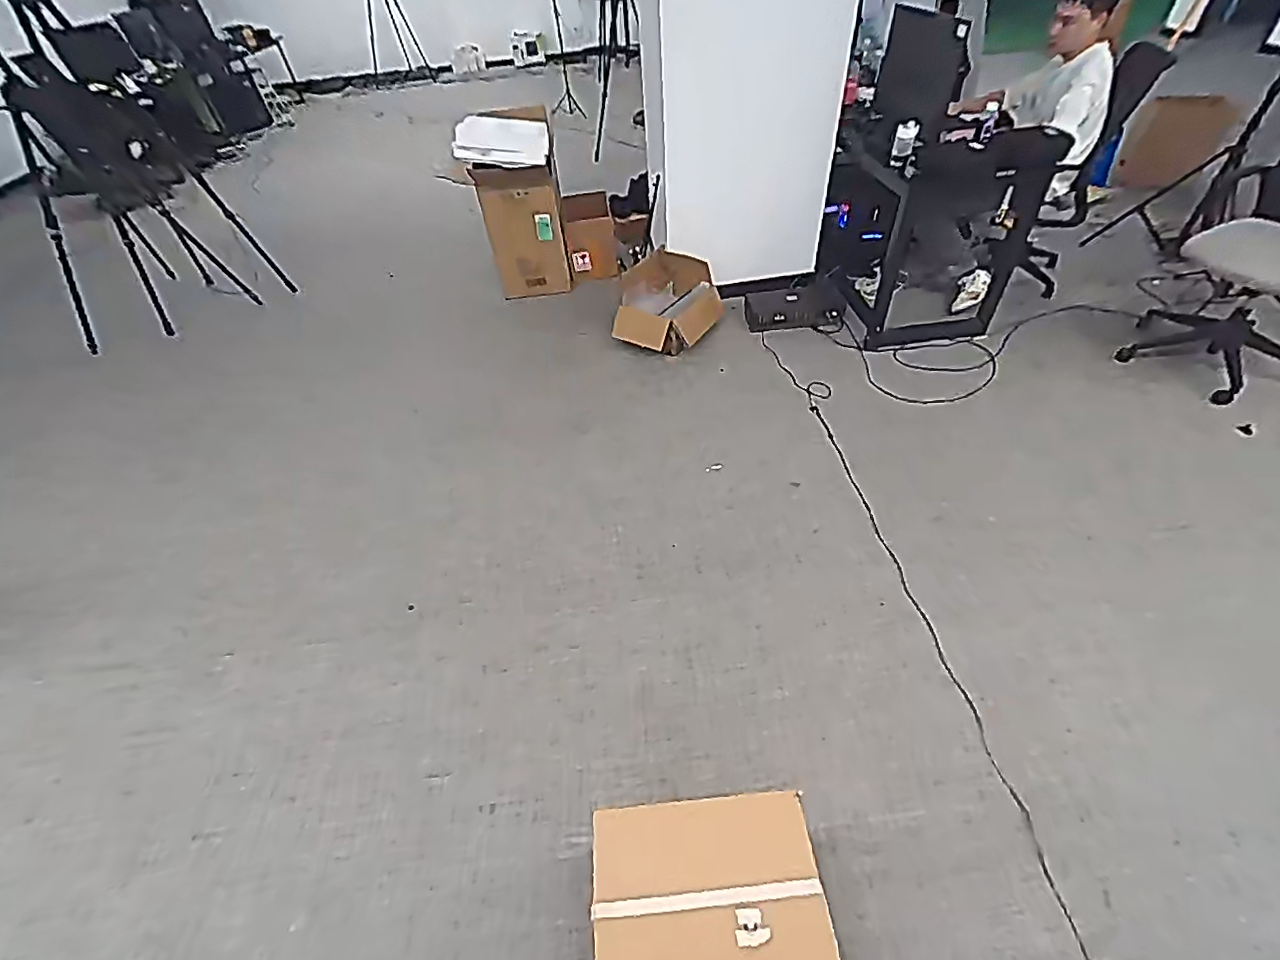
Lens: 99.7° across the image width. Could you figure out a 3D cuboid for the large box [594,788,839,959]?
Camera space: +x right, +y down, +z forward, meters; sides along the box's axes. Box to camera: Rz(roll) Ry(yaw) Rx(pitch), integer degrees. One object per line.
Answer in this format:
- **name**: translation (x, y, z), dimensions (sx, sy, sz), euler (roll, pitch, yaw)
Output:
- **large box**: translation (0.129, 0.846, 1.064), dimensions (0.408, 0.320, 0.320), euler (-6, 46, -1)
